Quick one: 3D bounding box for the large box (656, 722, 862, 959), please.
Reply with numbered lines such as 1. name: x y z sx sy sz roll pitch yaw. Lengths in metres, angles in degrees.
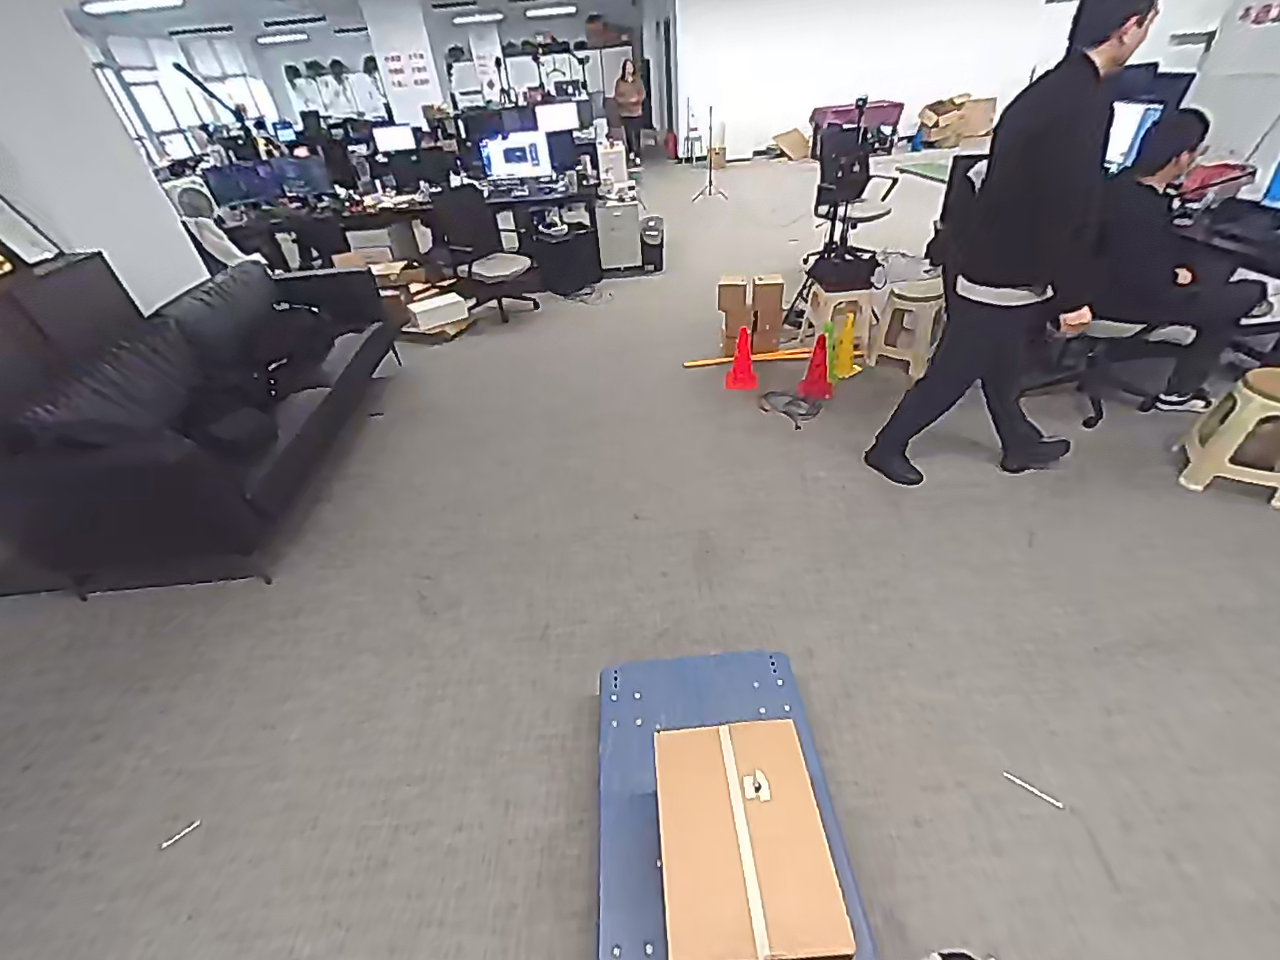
1. large box: 0.214 0.785 1.119 0.320 0.320 0.408 -5 37 0
